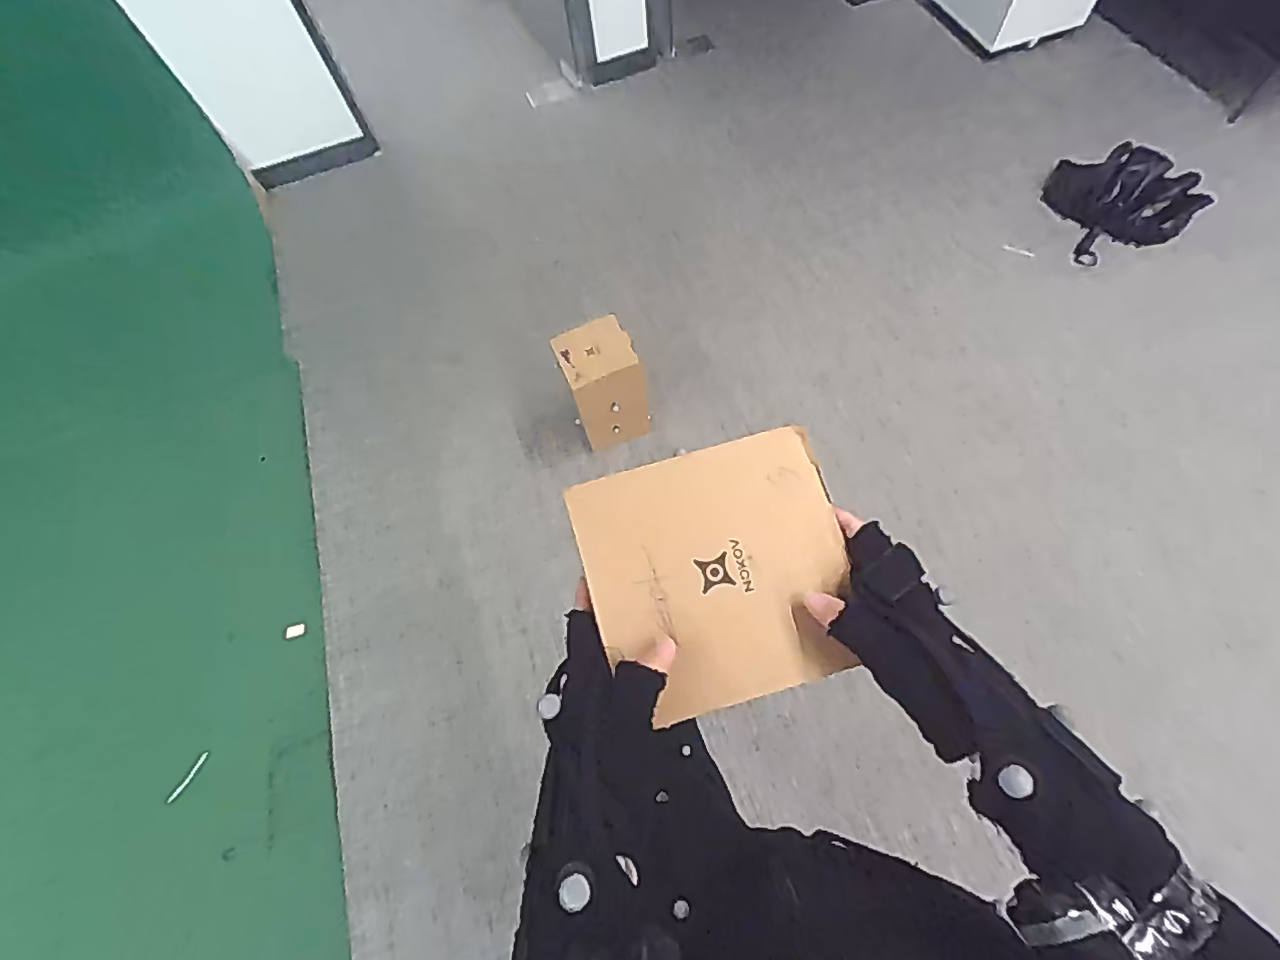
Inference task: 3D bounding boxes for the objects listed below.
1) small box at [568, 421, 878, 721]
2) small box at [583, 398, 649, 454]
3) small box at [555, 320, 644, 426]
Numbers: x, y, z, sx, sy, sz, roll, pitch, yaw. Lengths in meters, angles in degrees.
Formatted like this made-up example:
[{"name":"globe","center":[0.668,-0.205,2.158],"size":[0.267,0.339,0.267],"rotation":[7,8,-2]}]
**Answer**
[{"name":"small box","center":[0.053,0.071,0.444],"size":[0.179,0.176,0.168],"rotation":[-17,78,-2]},{"name":"small box","center":[-0.081,-0.200,1.515],"size":[0.179,0.176,0.168],"rotation":[-21,65,-3]},{"name":"small box","center":[-0.095,-0.265,1.365],"size":[0.179,0.176,0.168],"rotation":[-22,66,-5]}]
